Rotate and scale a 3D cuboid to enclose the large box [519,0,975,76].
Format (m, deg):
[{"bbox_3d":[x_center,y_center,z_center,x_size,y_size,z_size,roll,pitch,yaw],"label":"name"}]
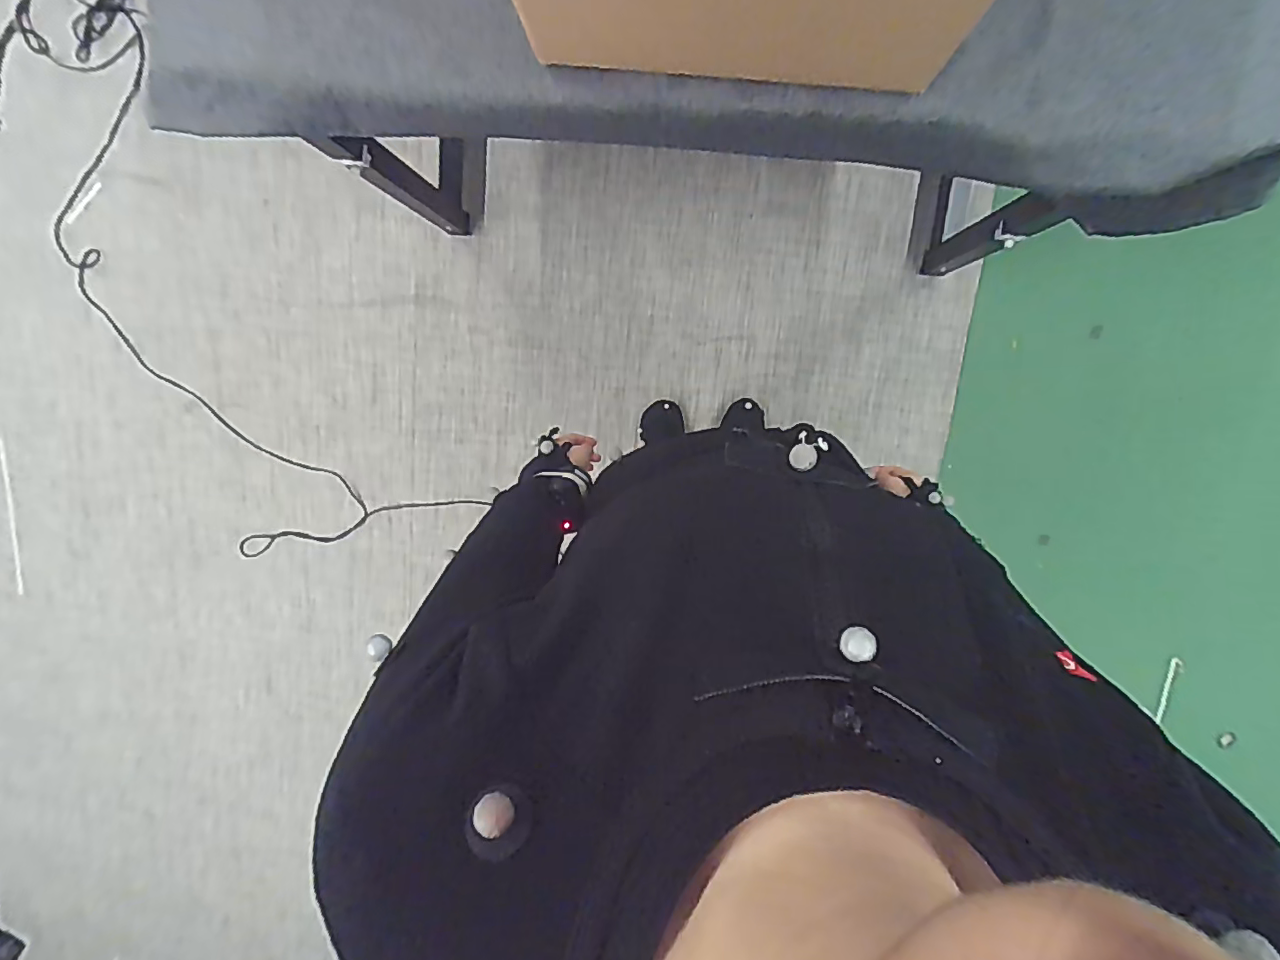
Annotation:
[{"bbox_3d":[0.092,-0.555,0.392,0.408,0.320,0.320,6,99,3],"label":"large box"}]
